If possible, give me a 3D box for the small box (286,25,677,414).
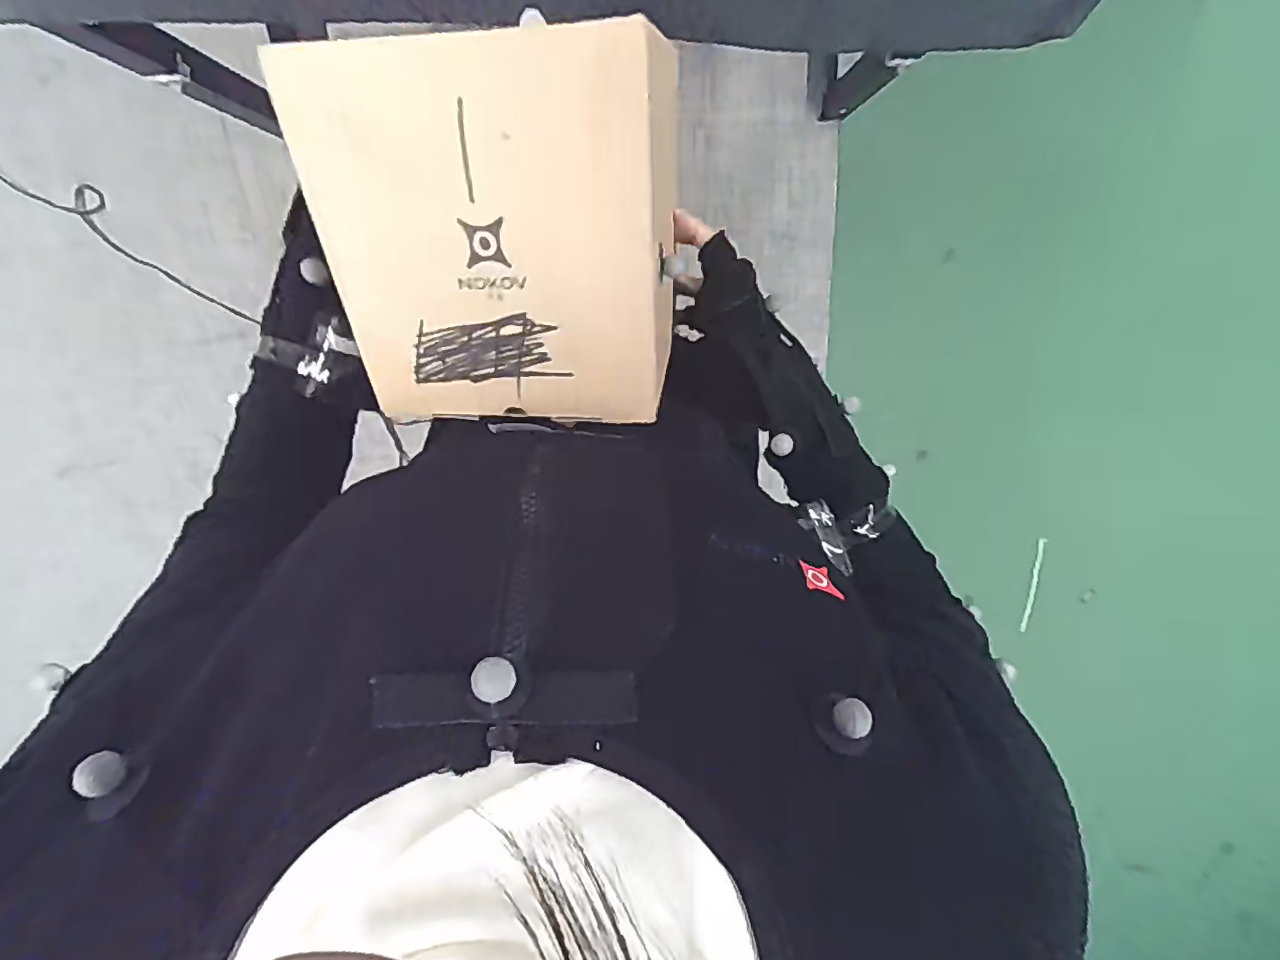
[{"bbox_3d":[-0.063,-0.157,0.338,0.168,0.176,0.179,2,122,5],"label":"small box"}]
